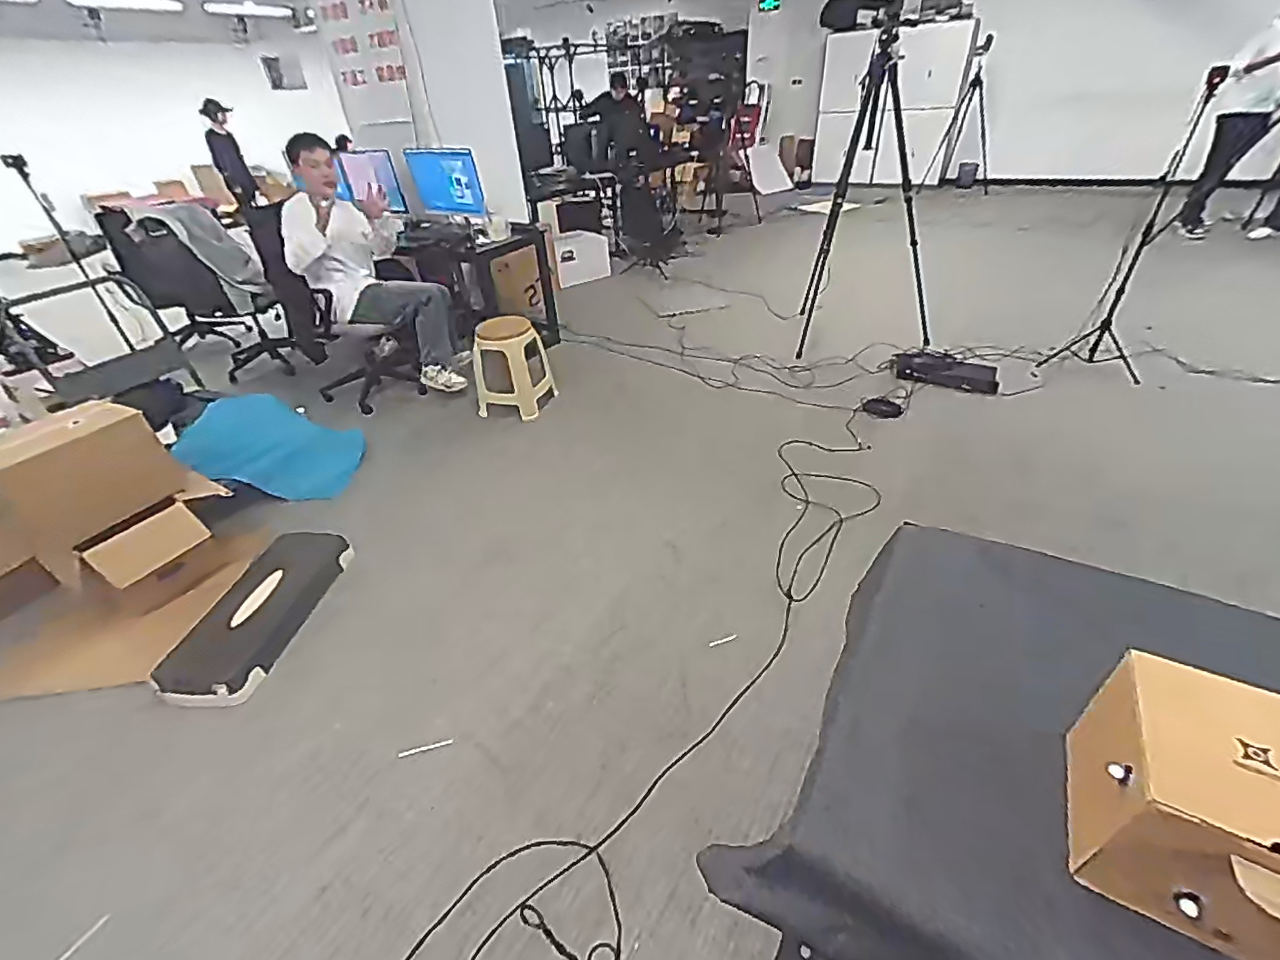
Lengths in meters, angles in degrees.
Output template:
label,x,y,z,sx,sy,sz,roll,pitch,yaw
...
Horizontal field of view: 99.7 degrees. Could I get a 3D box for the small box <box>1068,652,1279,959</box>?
label,x,y,z,sx,sy,sz,roll,pitch,yaw
small box,0.545,0.311,0.522,0.168,0.176,0.179,17,41,26
